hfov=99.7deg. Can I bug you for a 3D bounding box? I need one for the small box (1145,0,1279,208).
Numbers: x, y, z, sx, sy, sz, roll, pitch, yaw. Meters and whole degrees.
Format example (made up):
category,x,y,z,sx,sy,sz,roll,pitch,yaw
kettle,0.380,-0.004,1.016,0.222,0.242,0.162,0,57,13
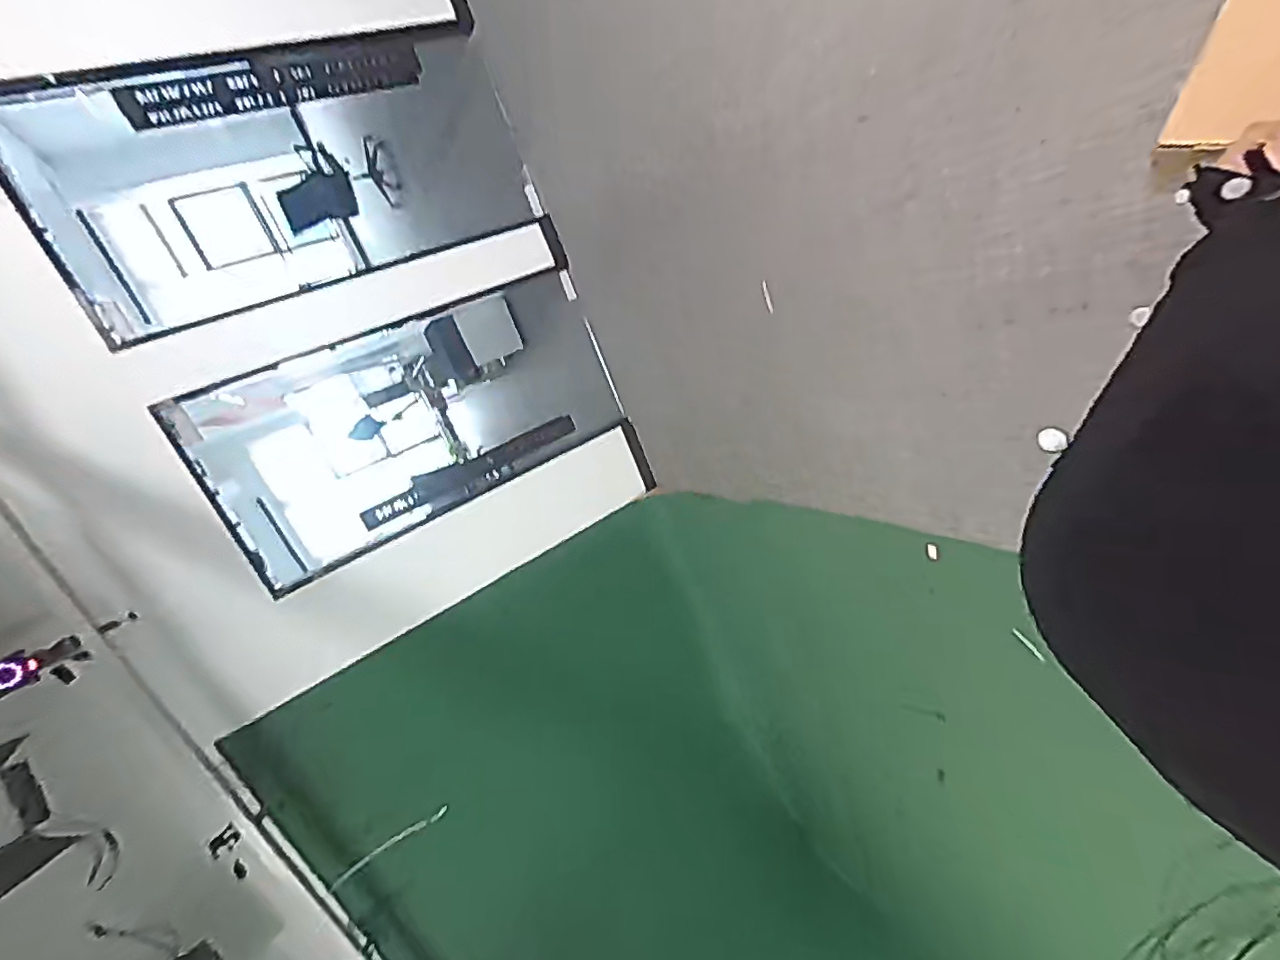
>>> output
category,x,y,z,sx,sy,sz,roll,pitch,yaw
small box,0.624,-0.373,0.508,0.168,0.179,0.176,28,112,36
